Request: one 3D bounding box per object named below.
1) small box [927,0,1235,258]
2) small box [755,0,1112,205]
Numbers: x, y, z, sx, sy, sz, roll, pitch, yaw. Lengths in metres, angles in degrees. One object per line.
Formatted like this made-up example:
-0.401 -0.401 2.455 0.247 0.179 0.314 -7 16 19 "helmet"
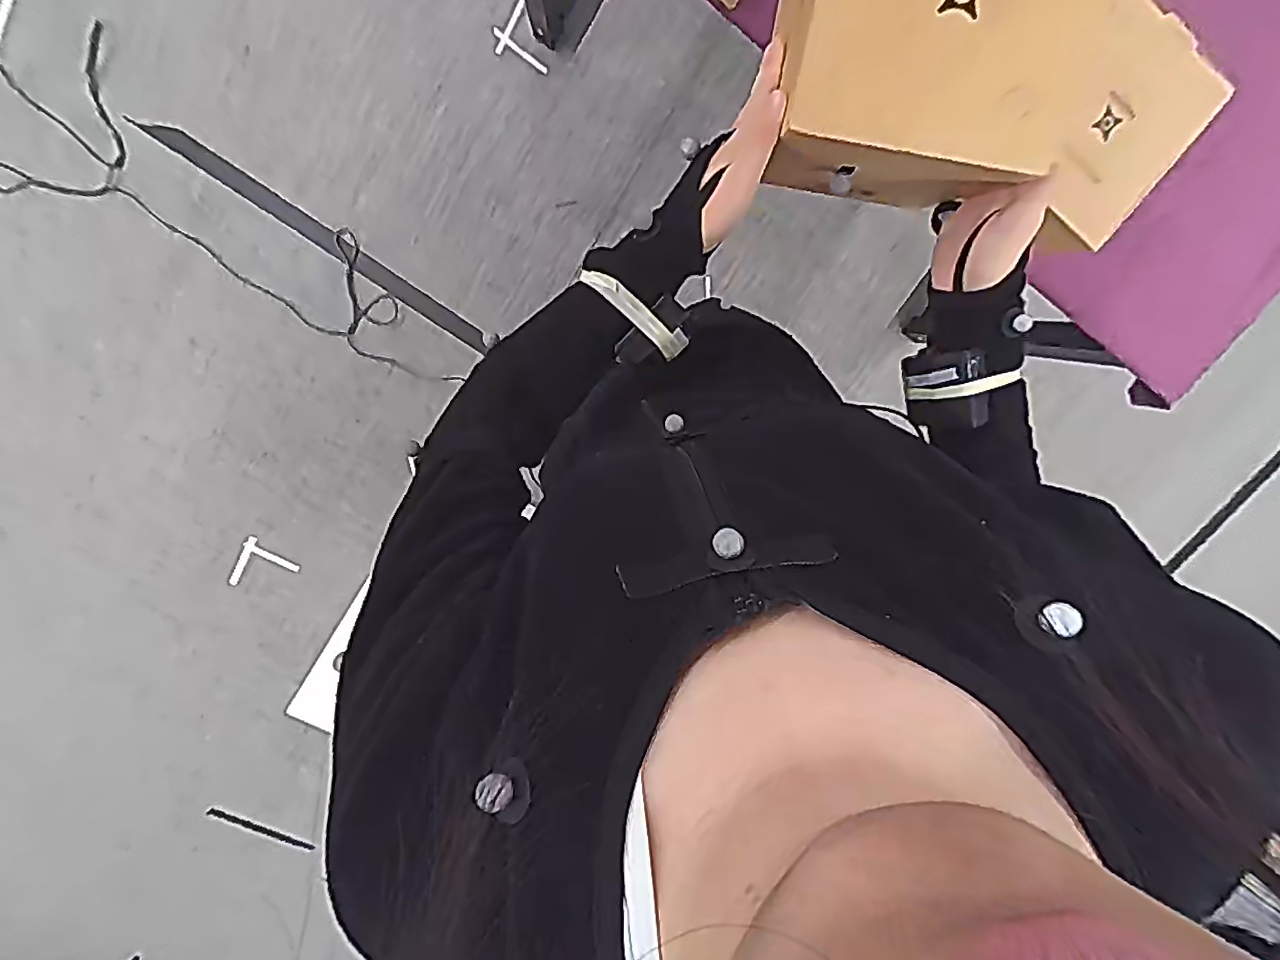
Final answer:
0.442 -0.367 0.586 0.168 0.176 0.179 33 105 -12 "small box"
0.185 -0.306 0.375 0.168 0.176 0.179 9 109 -1 "small box"
